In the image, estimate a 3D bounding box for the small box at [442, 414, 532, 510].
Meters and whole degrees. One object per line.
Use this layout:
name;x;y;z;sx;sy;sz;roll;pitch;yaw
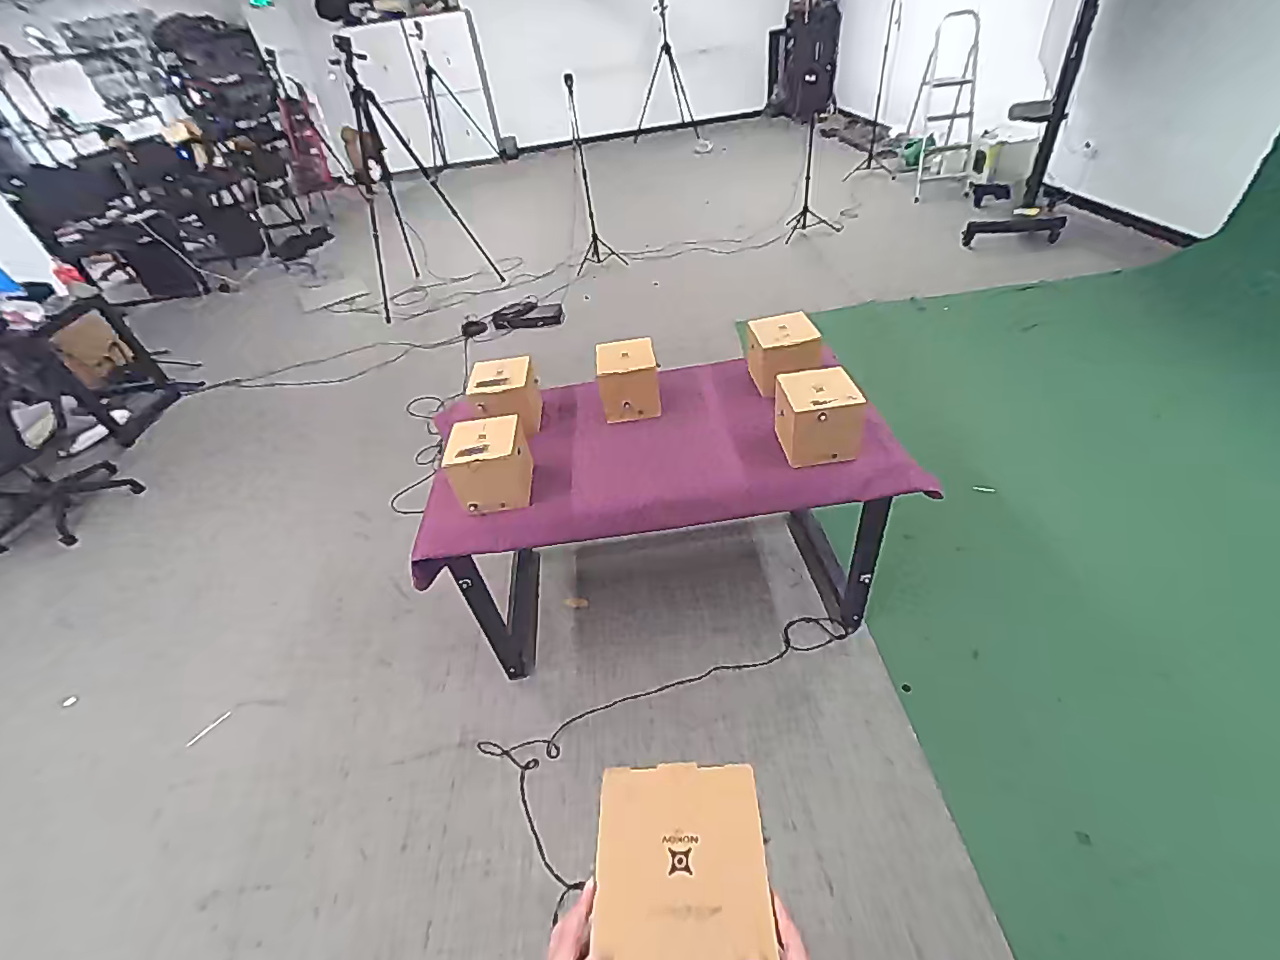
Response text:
small box;-0.371;-0.039;1.348;0.168;0.176;0.179;-8;40;0

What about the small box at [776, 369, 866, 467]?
small box;0.438;-0.154;1.338;0.168;0.176;0.179;-8;39;3

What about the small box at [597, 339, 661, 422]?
small box;-0.032;-0.291;1.582;0.168;0.176;0.179;-8;42;0

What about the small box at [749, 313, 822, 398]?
small box;0.417;-0.363;1.579;0.168;0.176;0.179;-11;42;2
